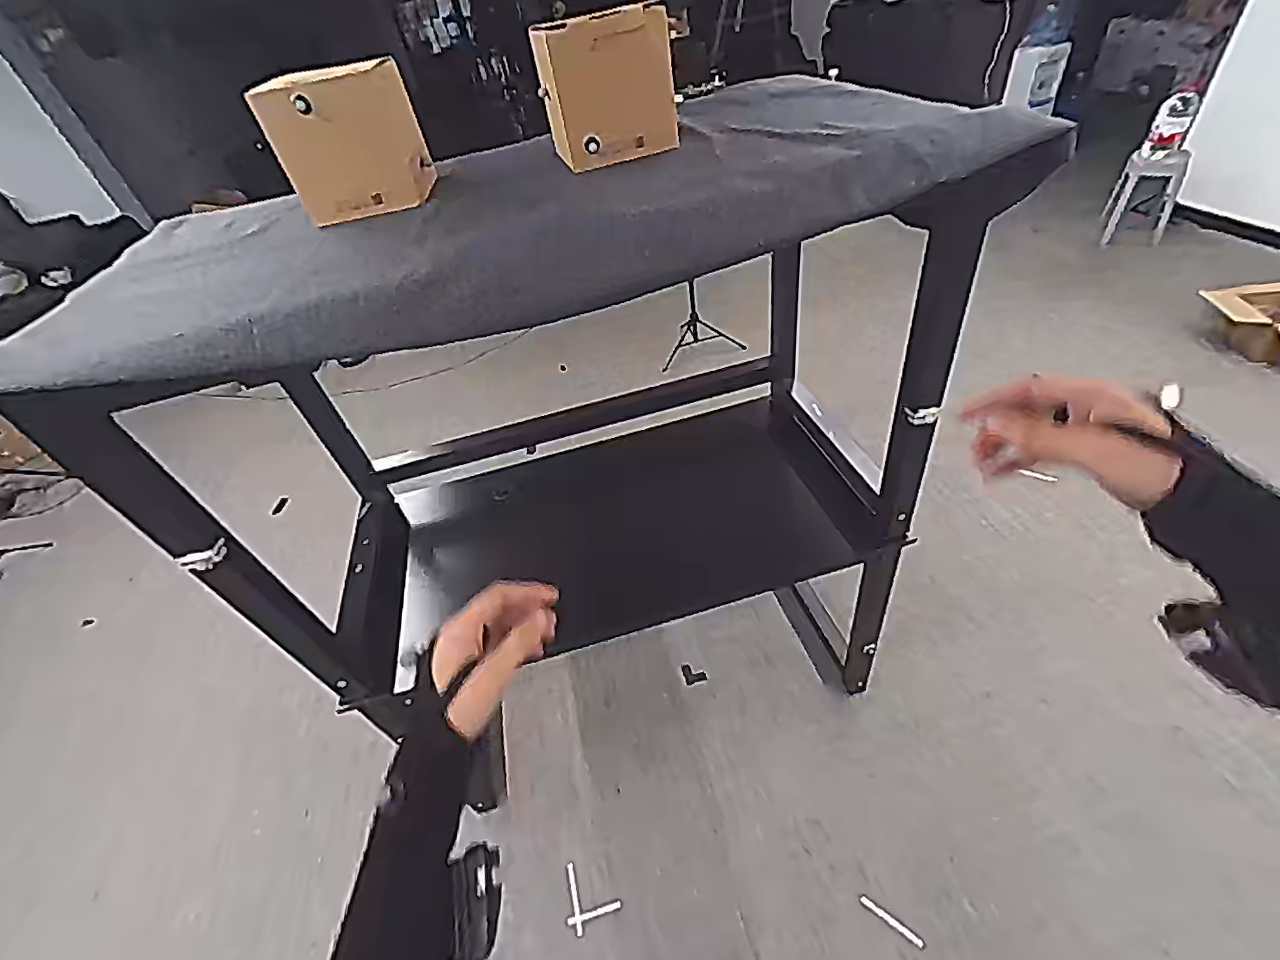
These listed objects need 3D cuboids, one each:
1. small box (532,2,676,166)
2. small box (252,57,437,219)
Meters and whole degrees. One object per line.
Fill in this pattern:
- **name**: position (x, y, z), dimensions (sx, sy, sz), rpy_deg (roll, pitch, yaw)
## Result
- **small box**: position (-0.052, -0.592, 0.816), dimensions (0.168, 0.176, 0.179), rpy_deg (-17, 42, -6)
- **small box**: position (-0.421, -0.510, 0.810), dimensions (0.168, 0.176, 0.179), rpy_deg (-12, 42, -1)
